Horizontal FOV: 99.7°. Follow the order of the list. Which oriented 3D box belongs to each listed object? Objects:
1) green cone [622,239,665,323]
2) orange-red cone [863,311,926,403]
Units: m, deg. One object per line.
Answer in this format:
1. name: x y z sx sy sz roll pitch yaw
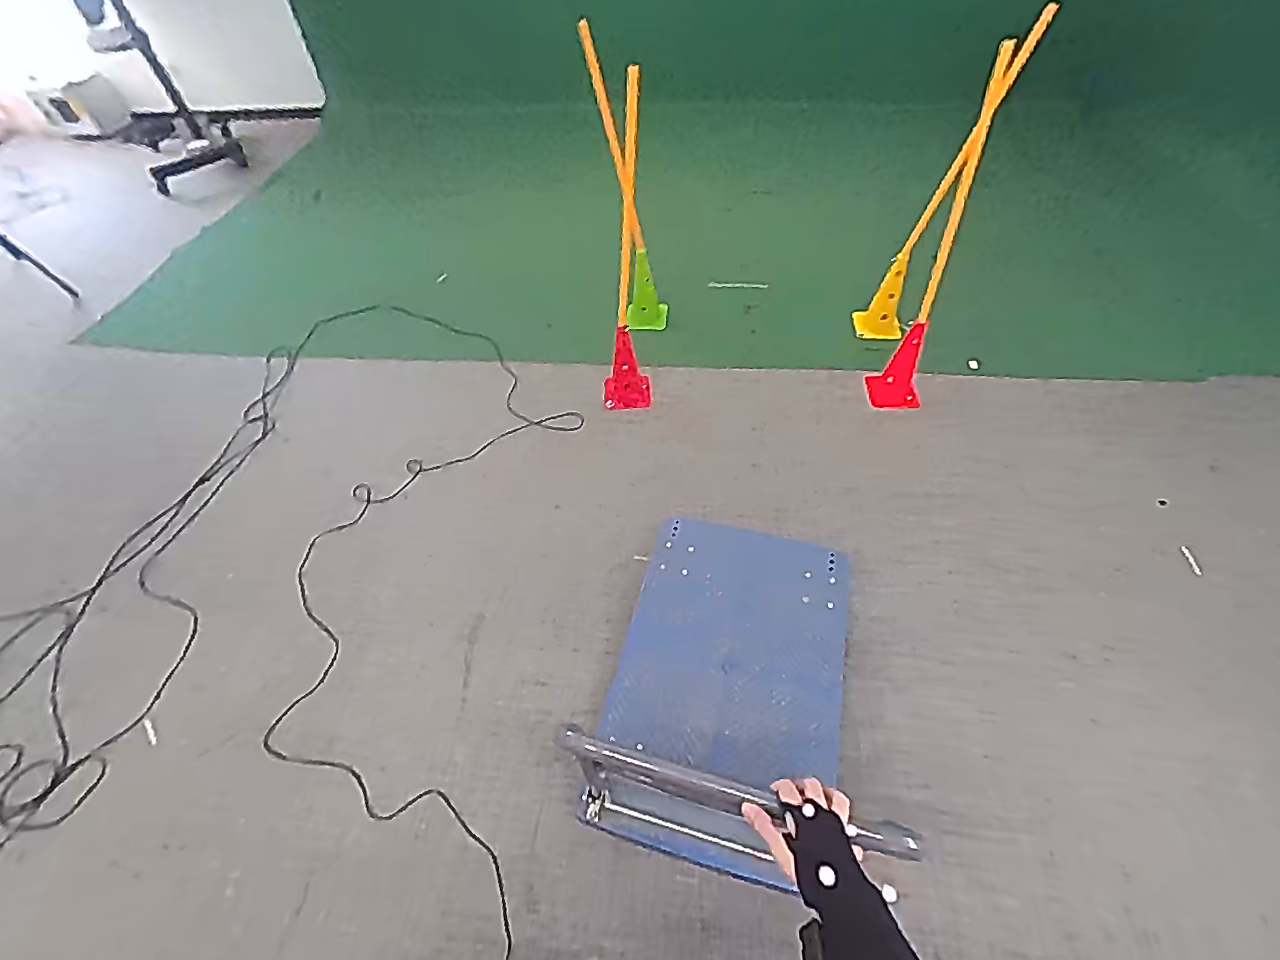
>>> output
1. green cone: 0.008 -0.941 2.526 0.200 0.368 0.202 2 52 6
2. orange-red cone: 1.042 -0.503 2.133 0.198 0.360 0.199 3 51 5
